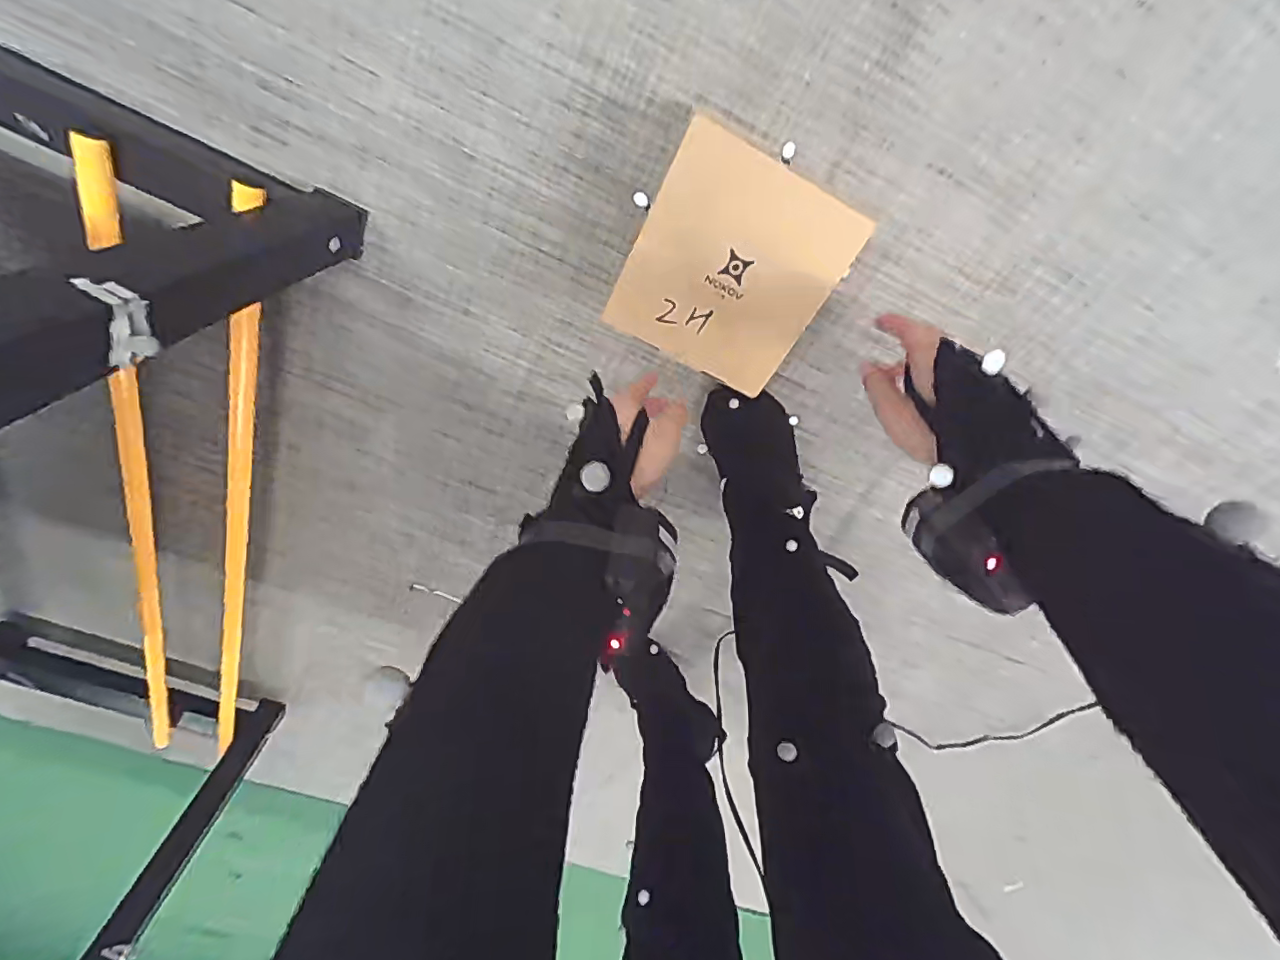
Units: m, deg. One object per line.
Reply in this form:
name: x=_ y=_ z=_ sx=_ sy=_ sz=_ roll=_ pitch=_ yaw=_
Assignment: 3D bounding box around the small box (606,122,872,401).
small box: x=0.083 y=-0.214 z=0.524 sx=0.168 sy=0.176 sz=0.179 roll=25 pitch=123 yaw=-11
